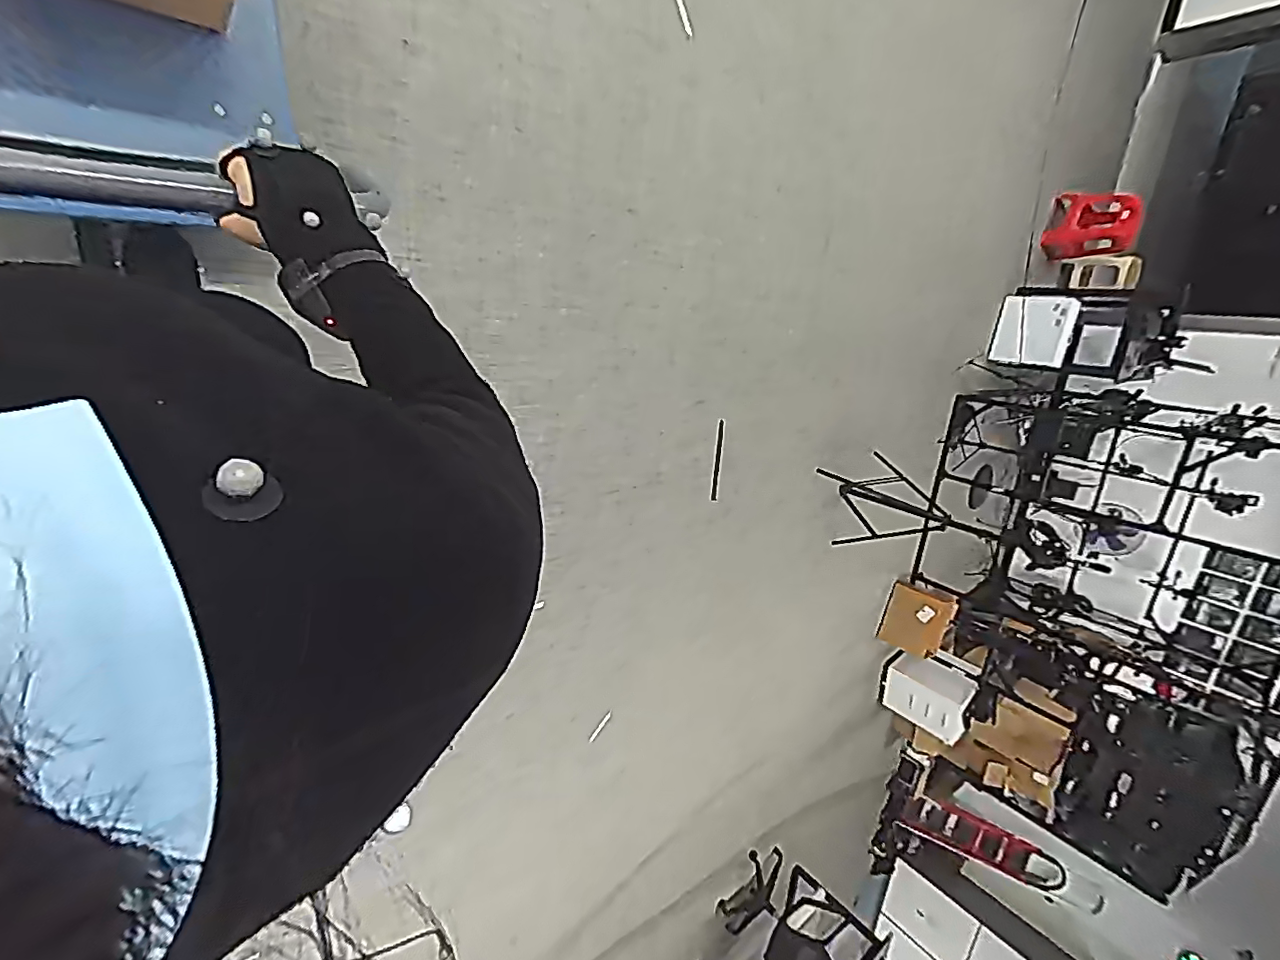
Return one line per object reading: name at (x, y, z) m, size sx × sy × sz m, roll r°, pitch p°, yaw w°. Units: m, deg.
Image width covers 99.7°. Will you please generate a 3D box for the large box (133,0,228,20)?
large box at (-0.766, -0.840, 0.646) m, size 0.408 × 0.320 × 0.320 m, roll -12°, pitch 114°, yaw -38°
